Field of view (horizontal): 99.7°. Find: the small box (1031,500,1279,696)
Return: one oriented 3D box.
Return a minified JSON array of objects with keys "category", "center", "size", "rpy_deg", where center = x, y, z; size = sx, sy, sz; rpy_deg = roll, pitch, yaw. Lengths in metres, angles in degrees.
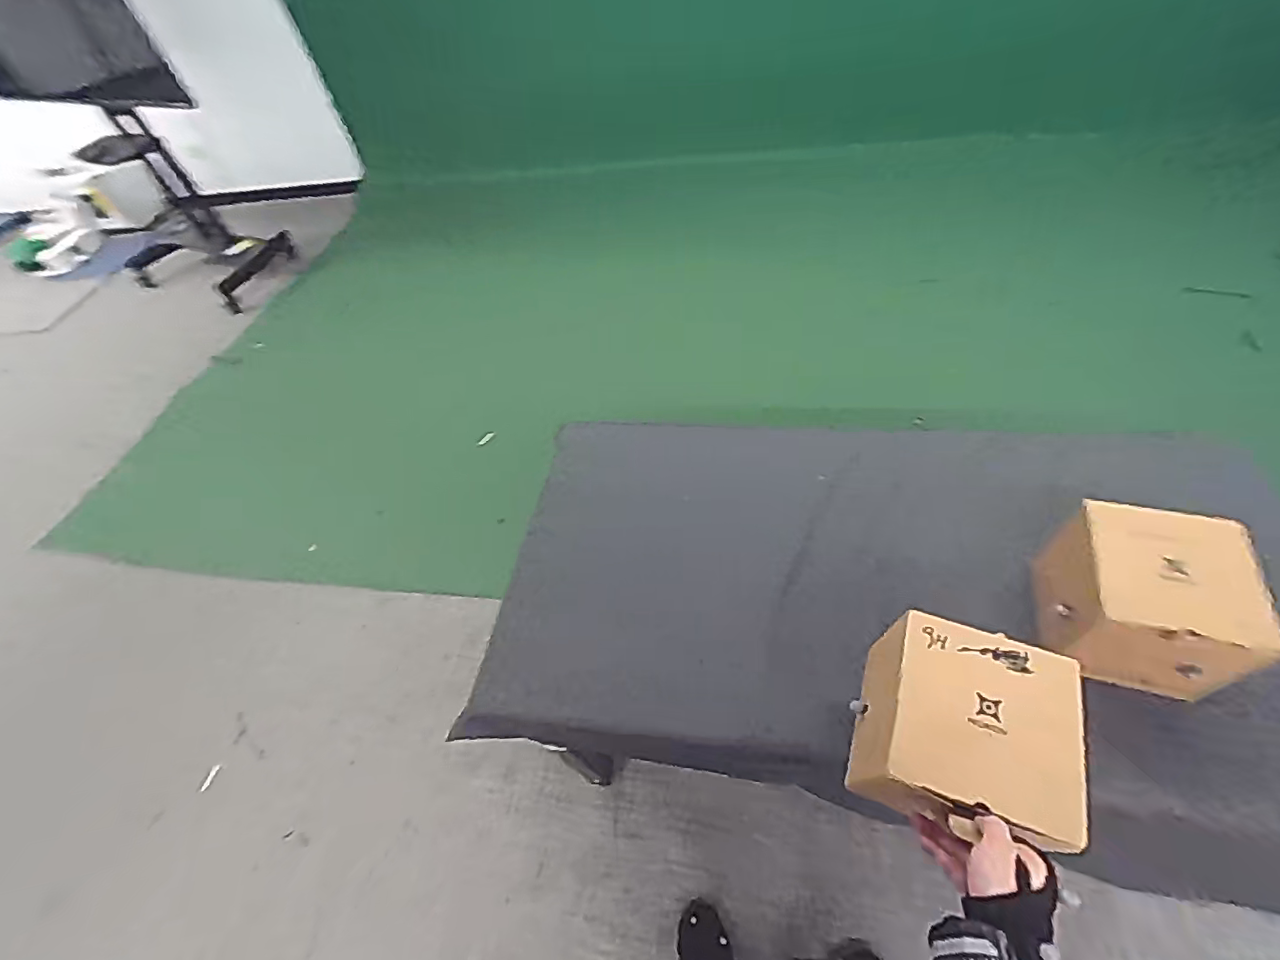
[{"category":"small box","center":[0.645,0.157,0.706],"size":[0.168,0.176,0.179],"rpy_deg":[11,53,16]}]

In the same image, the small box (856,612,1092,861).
[{"category":"small box","center":[0.346,0.276,0.585],"size":[0.168,0.176,0.179],"rpy_deg":[17,60,16]}]
